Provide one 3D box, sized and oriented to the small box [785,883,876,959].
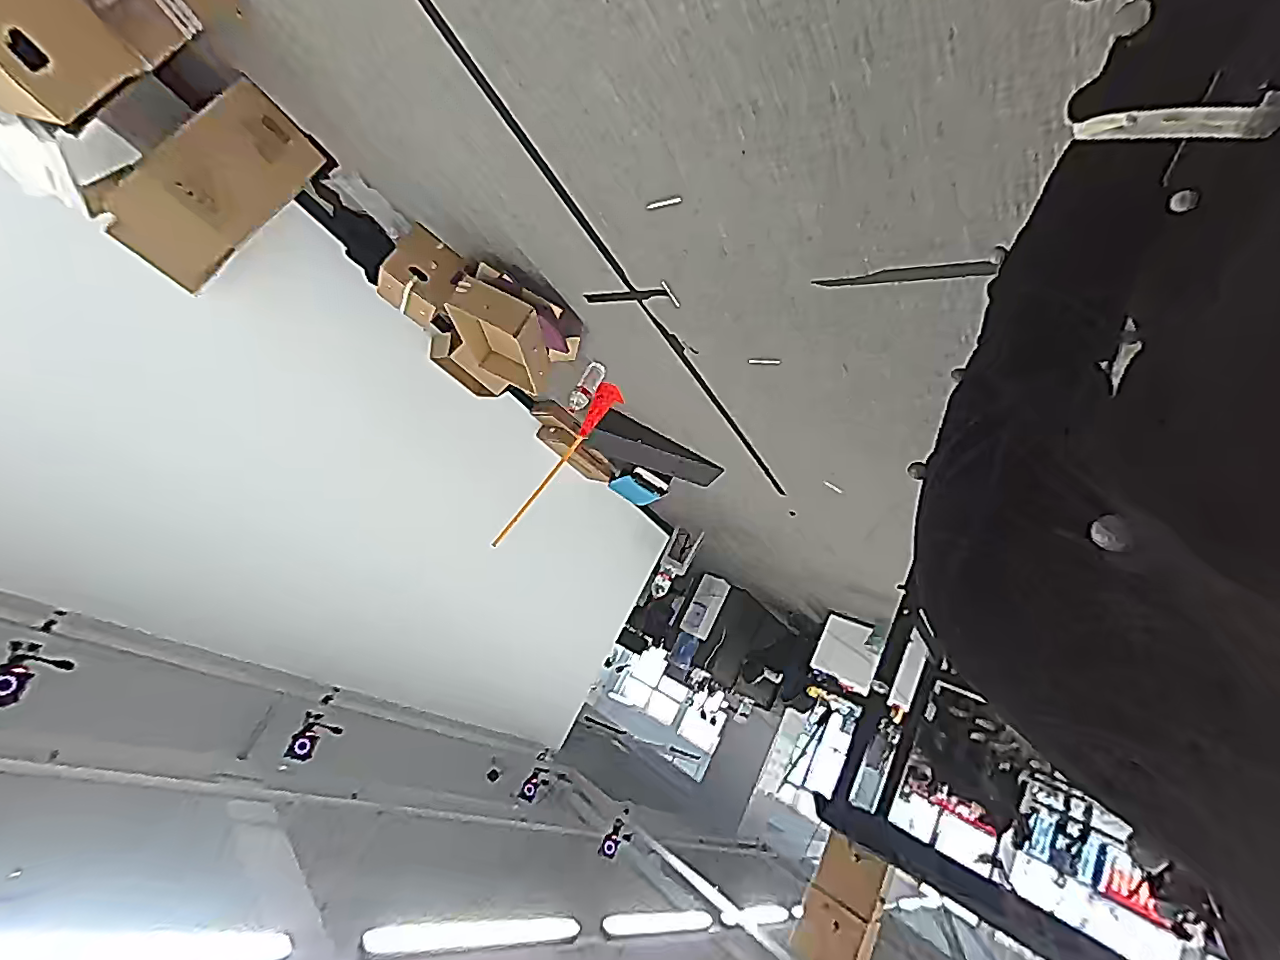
[{"bbox_3d":[0.537,1.260,1.507,0.168,0.176,0.179,13,157,43],"label":"small box"}]
